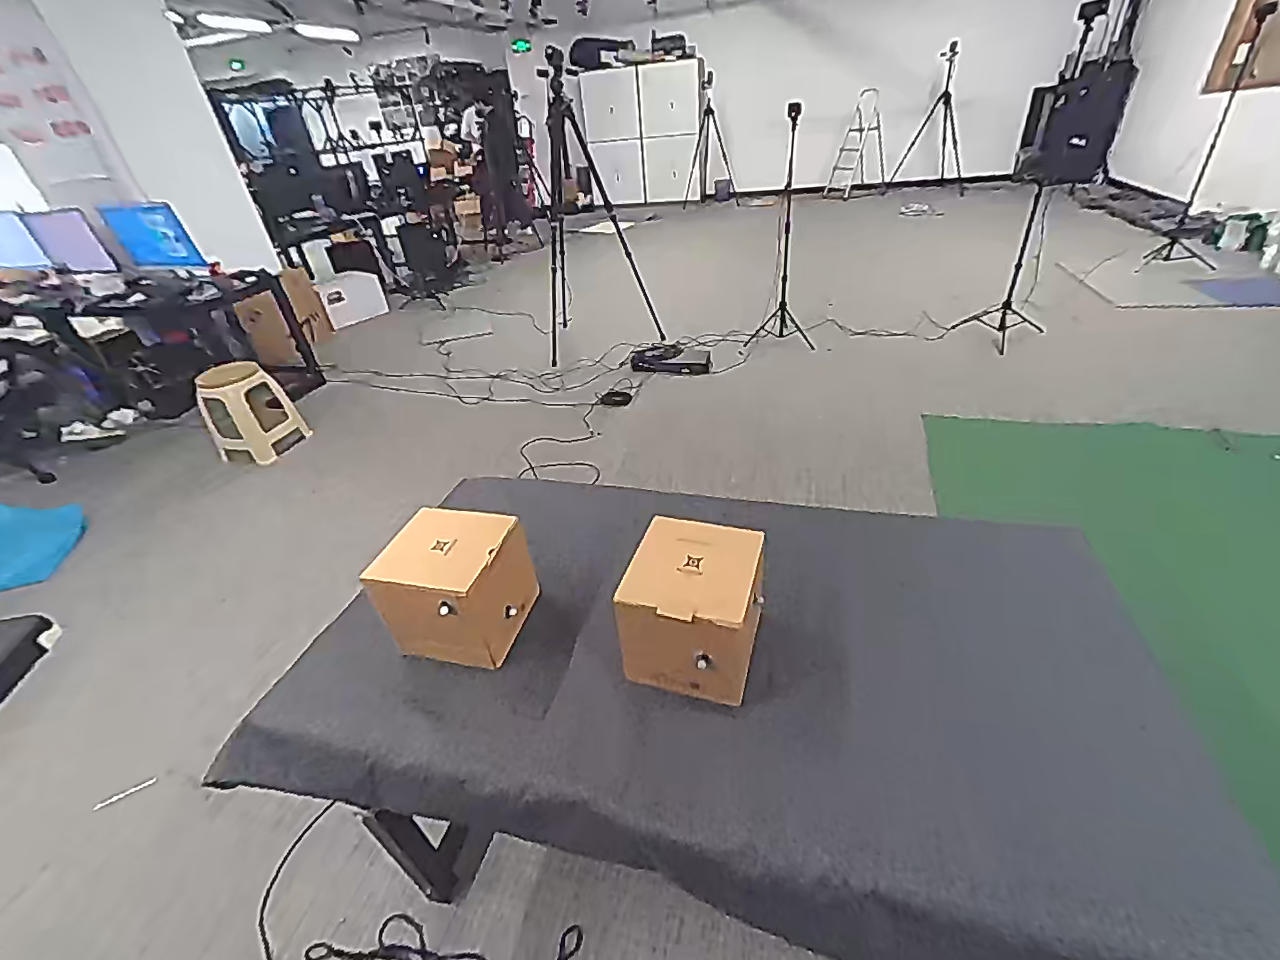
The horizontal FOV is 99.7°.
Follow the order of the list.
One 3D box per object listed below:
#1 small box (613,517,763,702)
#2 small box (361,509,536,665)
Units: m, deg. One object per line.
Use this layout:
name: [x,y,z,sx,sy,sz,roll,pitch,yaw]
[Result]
small box: [0.076,0.179,0.763,0.168,0.176,0.179,8,36,18]
small box: [-0.283,0.165,0.841,0.179,0.176,0.168,4,36,14]
